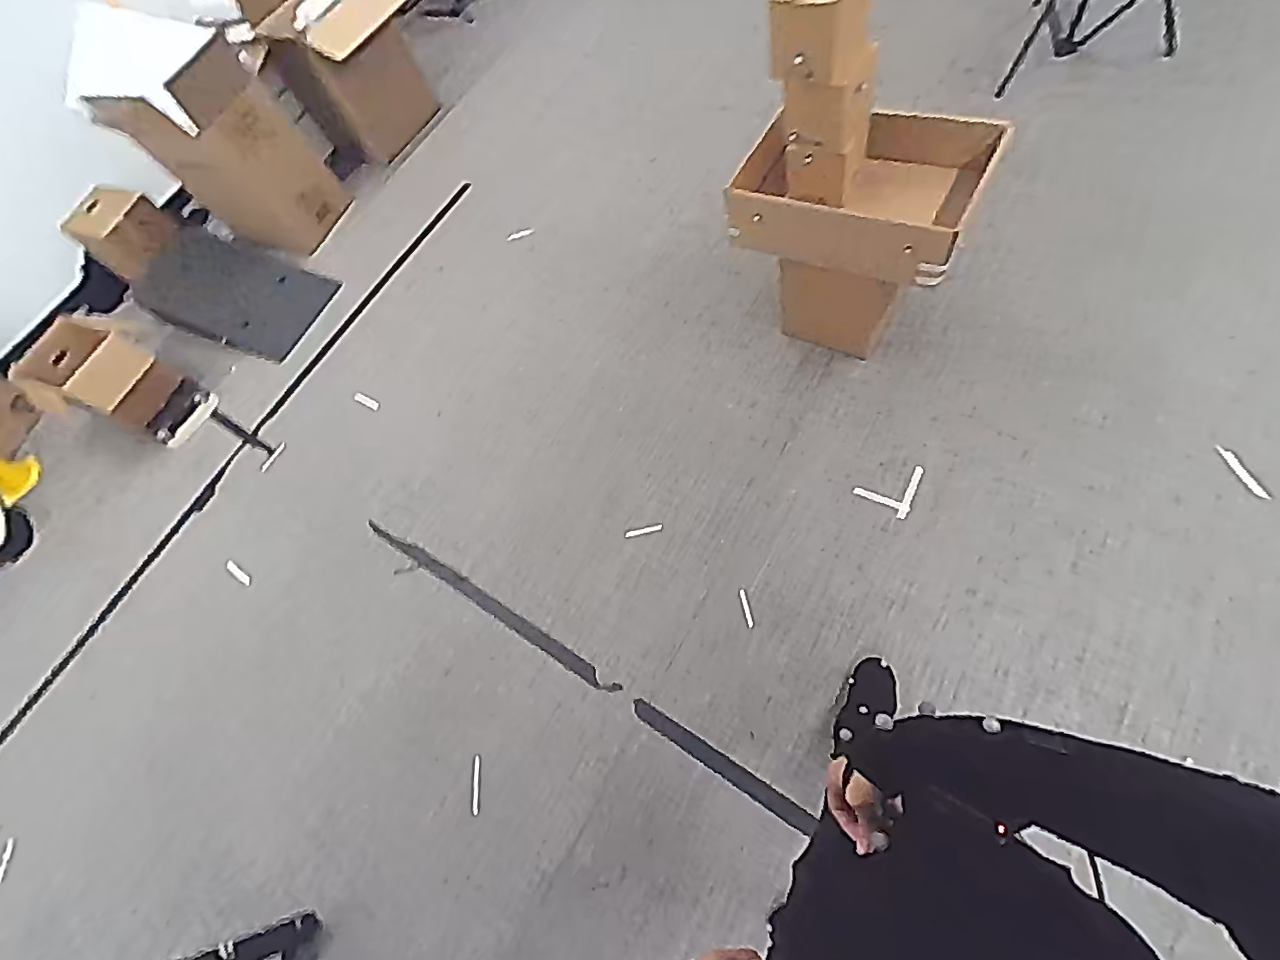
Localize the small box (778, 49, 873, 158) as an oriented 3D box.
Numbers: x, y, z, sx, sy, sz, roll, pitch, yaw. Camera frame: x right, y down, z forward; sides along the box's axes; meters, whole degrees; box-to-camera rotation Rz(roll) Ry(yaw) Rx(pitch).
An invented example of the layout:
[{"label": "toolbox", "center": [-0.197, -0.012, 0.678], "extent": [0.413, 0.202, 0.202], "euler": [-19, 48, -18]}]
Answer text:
[{"label": "small box", "center": [0.471, -0.965, 1.385], "extent": [0.168, 0.176, 0.179], "euler": [29, 75, 25]}]

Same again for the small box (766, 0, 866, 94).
[{"label": "small box", "center": [0.406, -1.046, 1.254], "extent": [0.168, 0.176, 0.179], "euler": [30, 76, 26]}]

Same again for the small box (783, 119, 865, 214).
[{"label": "small box", "center": [0.513, -0.892, 1.527], "extent": [0.168, 0.176, 0.179], "euler": [22, 72, 24]}]
